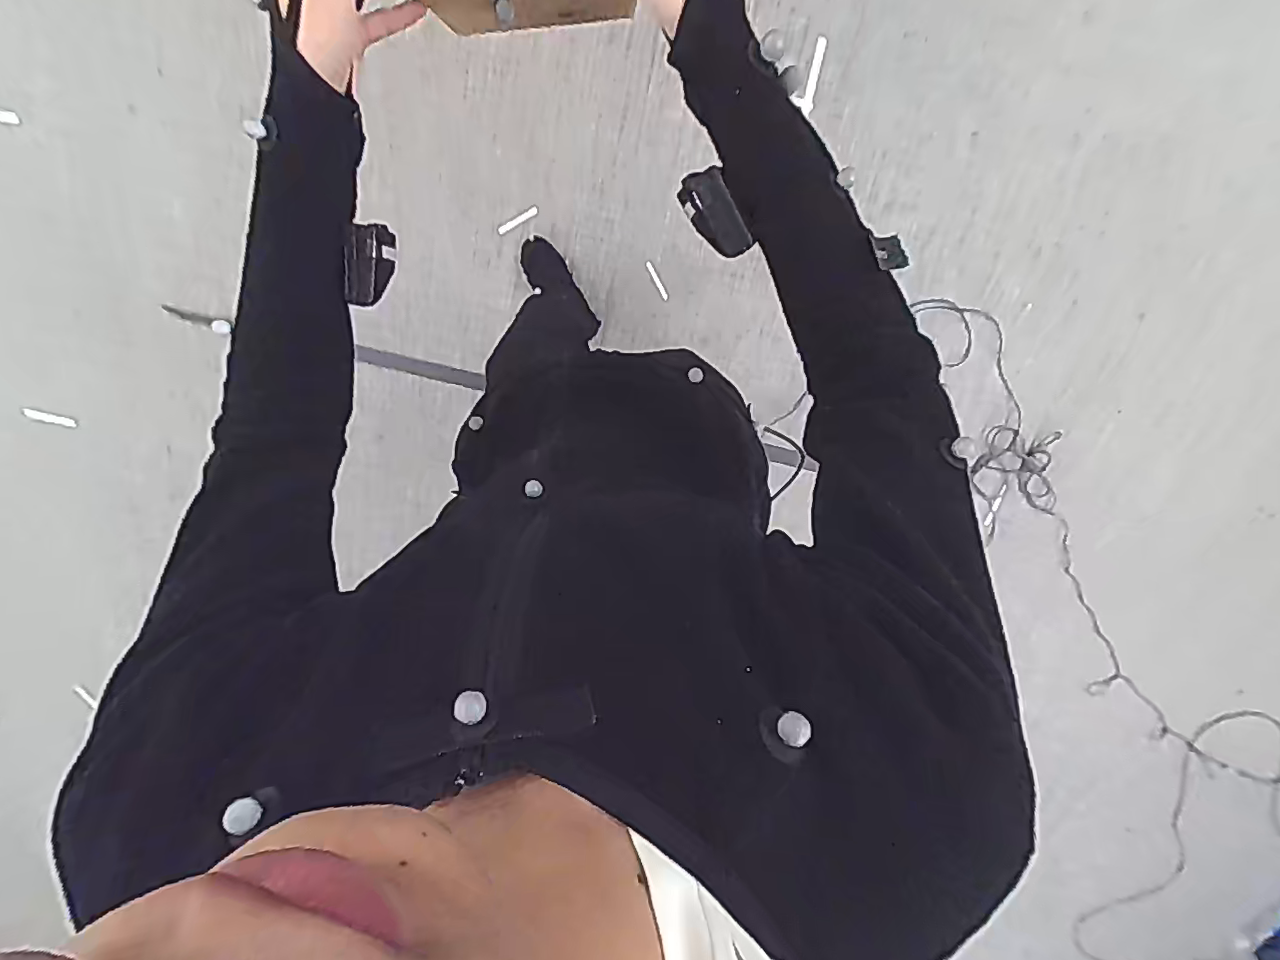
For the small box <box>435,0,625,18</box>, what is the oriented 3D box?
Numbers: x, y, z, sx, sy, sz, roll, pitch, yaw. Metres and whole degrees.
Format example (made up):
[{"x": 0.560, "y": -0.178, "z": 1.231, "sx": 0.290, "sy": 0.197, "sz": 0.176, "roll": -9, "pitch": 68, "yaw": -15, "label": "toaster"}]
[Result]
[{"x": -0.094, "y": -0.448, "z": 0.369, "sx": 0.168, "sy": 0.176, "sz": 0.179, "roll": -5, "pitch": 116, "yaw": 1, "label": "small box"}]
